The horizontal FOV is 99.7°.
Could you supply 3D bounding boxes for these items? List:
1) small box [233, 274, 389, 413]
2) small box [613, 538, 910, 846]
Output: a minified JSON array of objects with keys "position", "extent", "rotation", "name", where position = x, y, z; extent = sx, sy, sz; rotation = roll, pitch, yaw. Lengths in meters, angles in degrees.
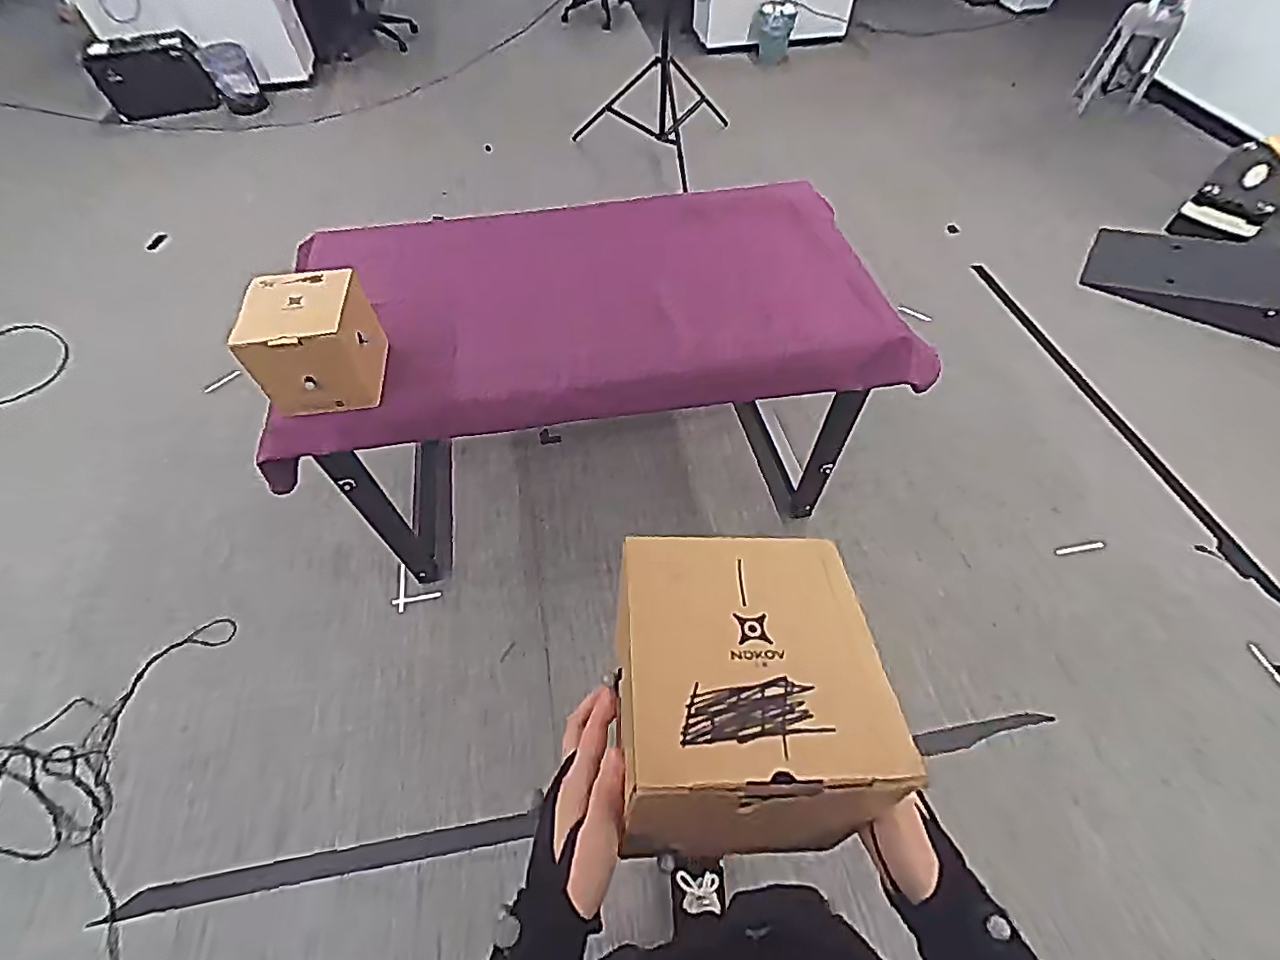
[{"position":[-0.559,-0.231,0.949],"extent":[0.168,0.176,0.179],"rotation":[-7,56,-5],"name":"small box"},{"position":[0.066,0.164,0.415],"extent":[0.168,0.176,0.179],"rotation":[1,44,-5],"name":"small box"}]
